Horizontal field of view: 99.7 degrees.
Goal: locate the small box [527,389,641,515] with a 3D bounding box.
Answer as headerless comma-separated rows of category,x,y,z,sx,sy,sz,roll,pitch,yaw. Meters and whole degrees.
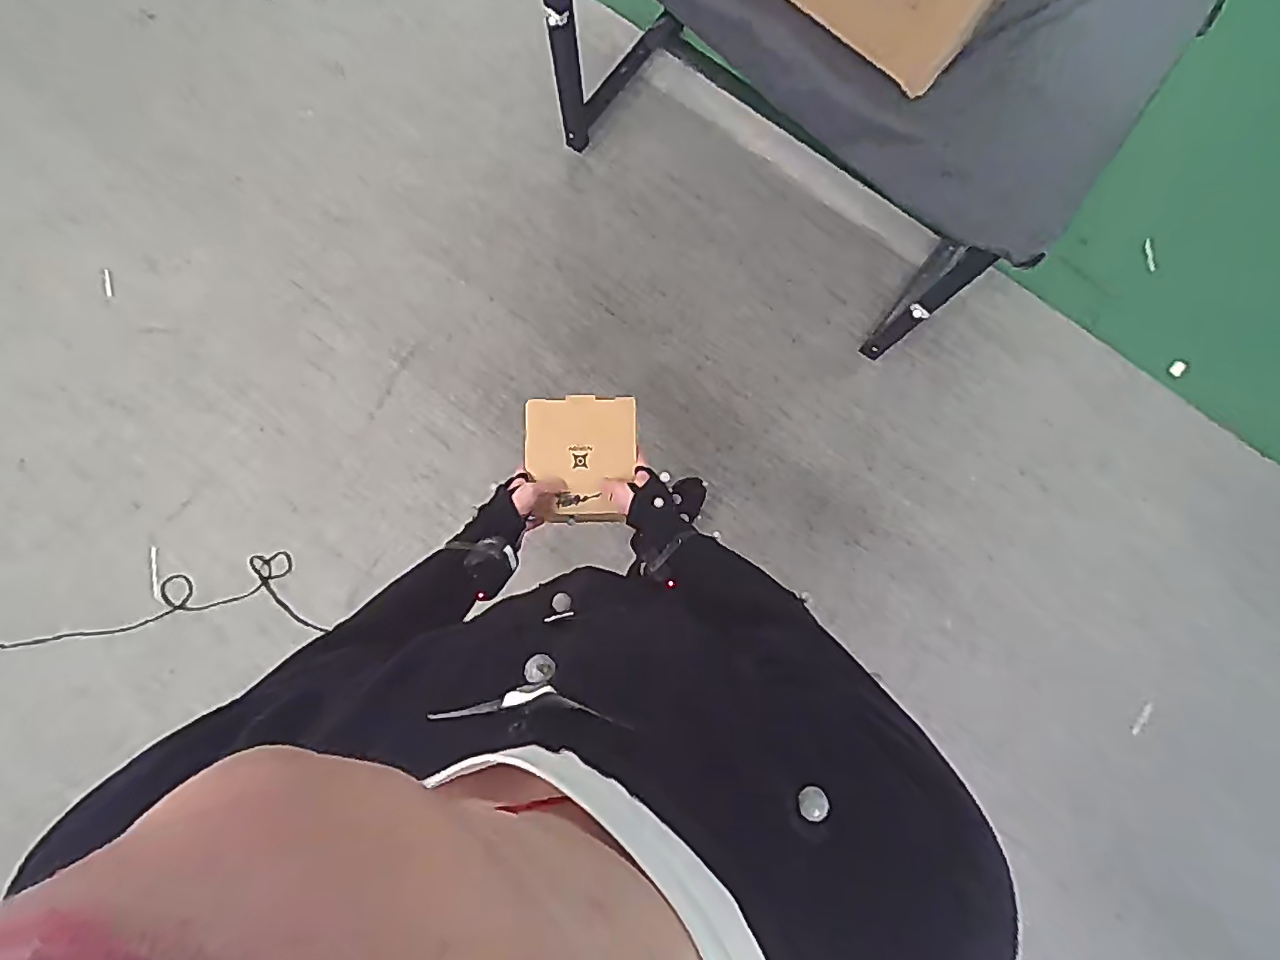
small box,-0.083,-0.037,0.871,0.168,0.176,0.179,-1,83,1
